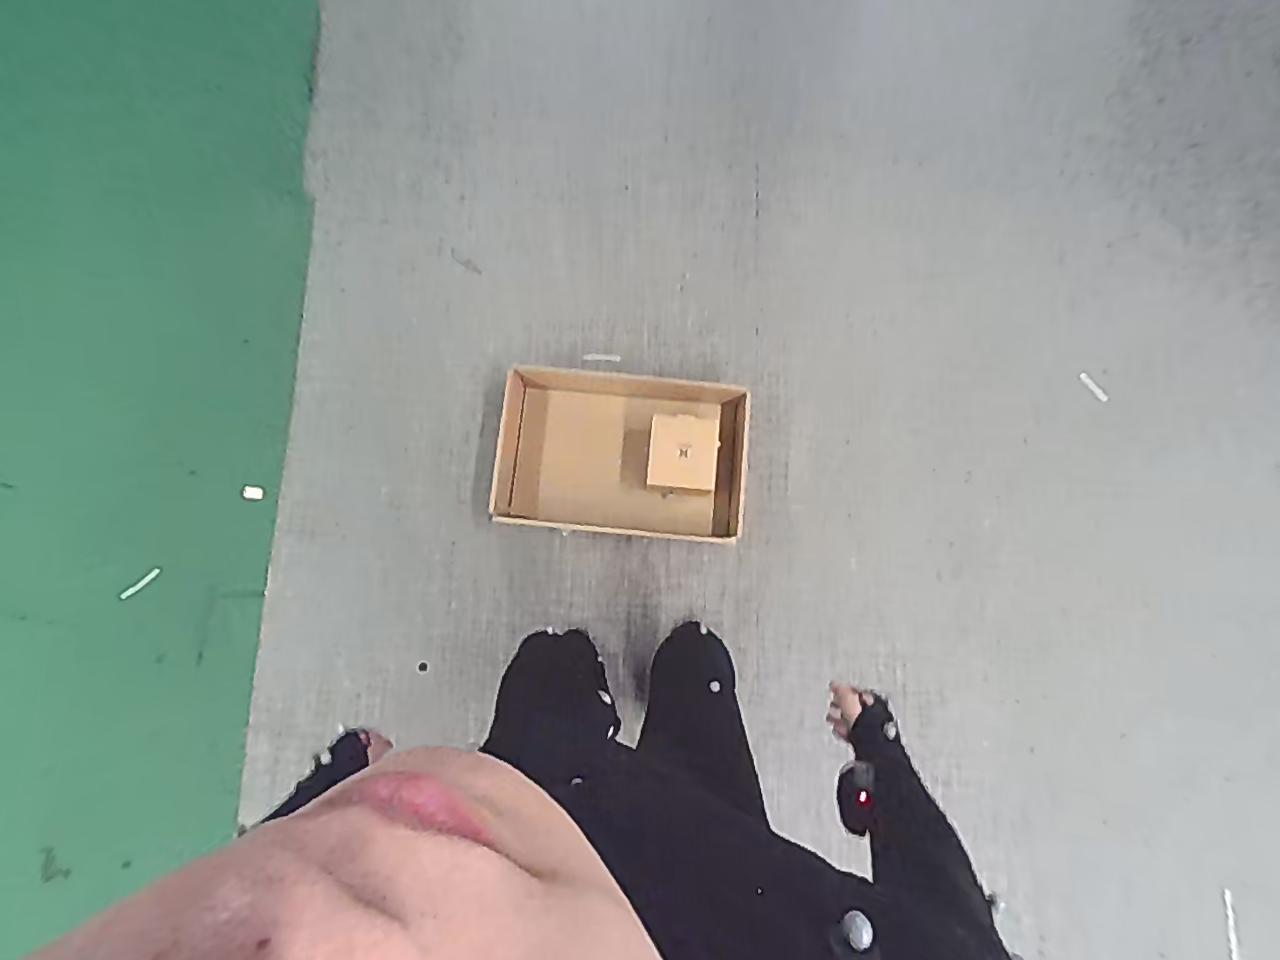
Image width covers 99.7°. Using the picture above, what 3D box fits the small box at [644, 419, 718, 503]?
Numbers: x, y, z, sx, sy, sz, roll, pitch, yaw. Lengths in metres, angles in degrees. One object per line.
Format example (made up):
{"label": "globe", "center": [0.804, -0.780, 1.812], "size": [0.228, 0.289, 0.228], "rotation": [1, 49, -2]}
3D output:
{"label": "small box", "center": [0.099, -0.044, 1.377], "size": [0.168, 0.176, 0.179], "rotation": [5, 81, 1]}
